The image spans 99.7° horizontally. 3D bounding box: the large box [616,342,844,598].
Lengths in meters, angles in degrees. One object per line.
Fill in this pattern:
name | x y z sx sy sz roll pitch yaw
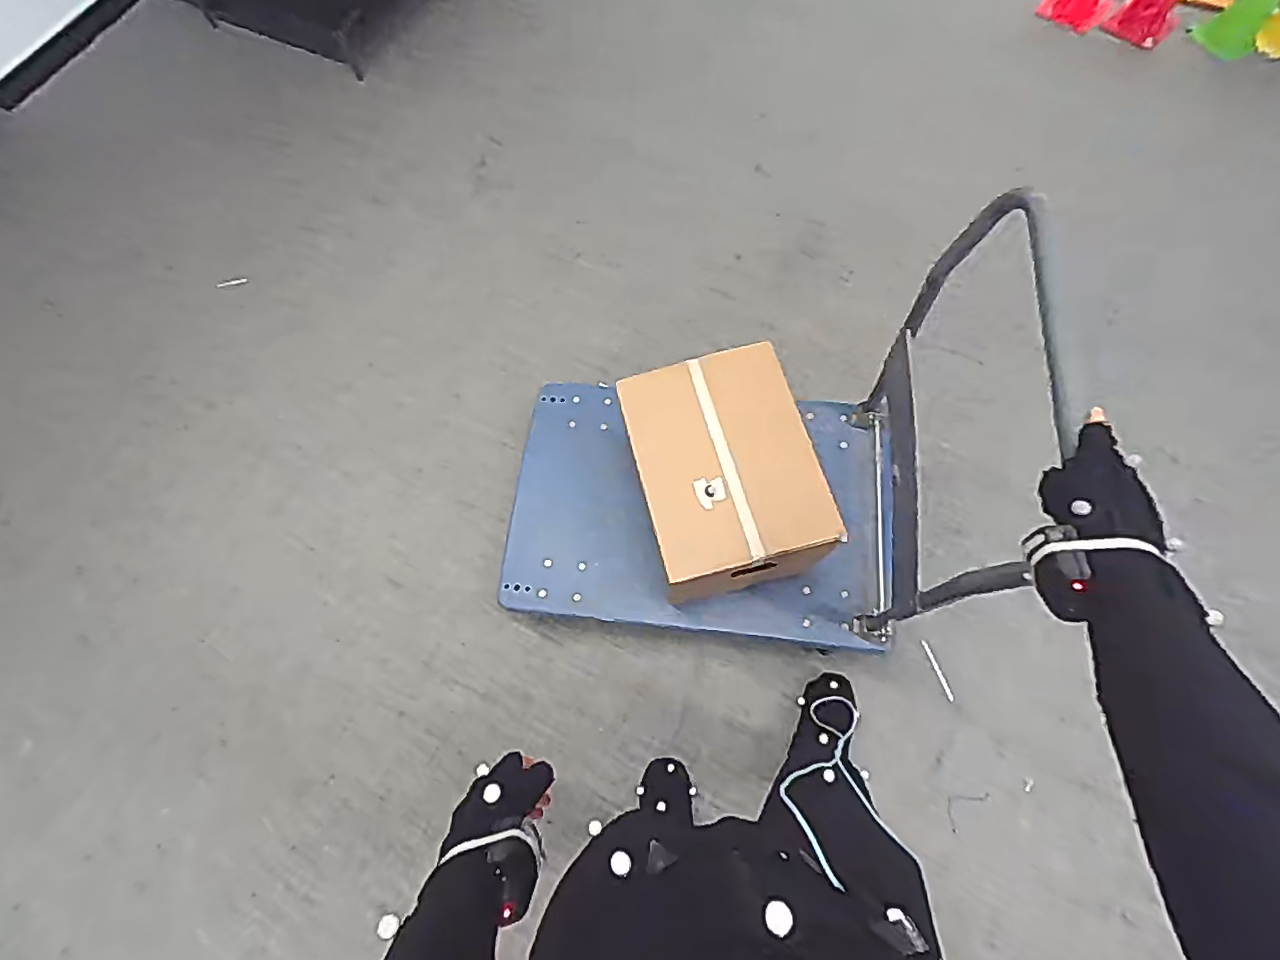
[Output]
large box | 0.158 -0.004 1.119 0.320 0.320 0.408 -15 71 -1
